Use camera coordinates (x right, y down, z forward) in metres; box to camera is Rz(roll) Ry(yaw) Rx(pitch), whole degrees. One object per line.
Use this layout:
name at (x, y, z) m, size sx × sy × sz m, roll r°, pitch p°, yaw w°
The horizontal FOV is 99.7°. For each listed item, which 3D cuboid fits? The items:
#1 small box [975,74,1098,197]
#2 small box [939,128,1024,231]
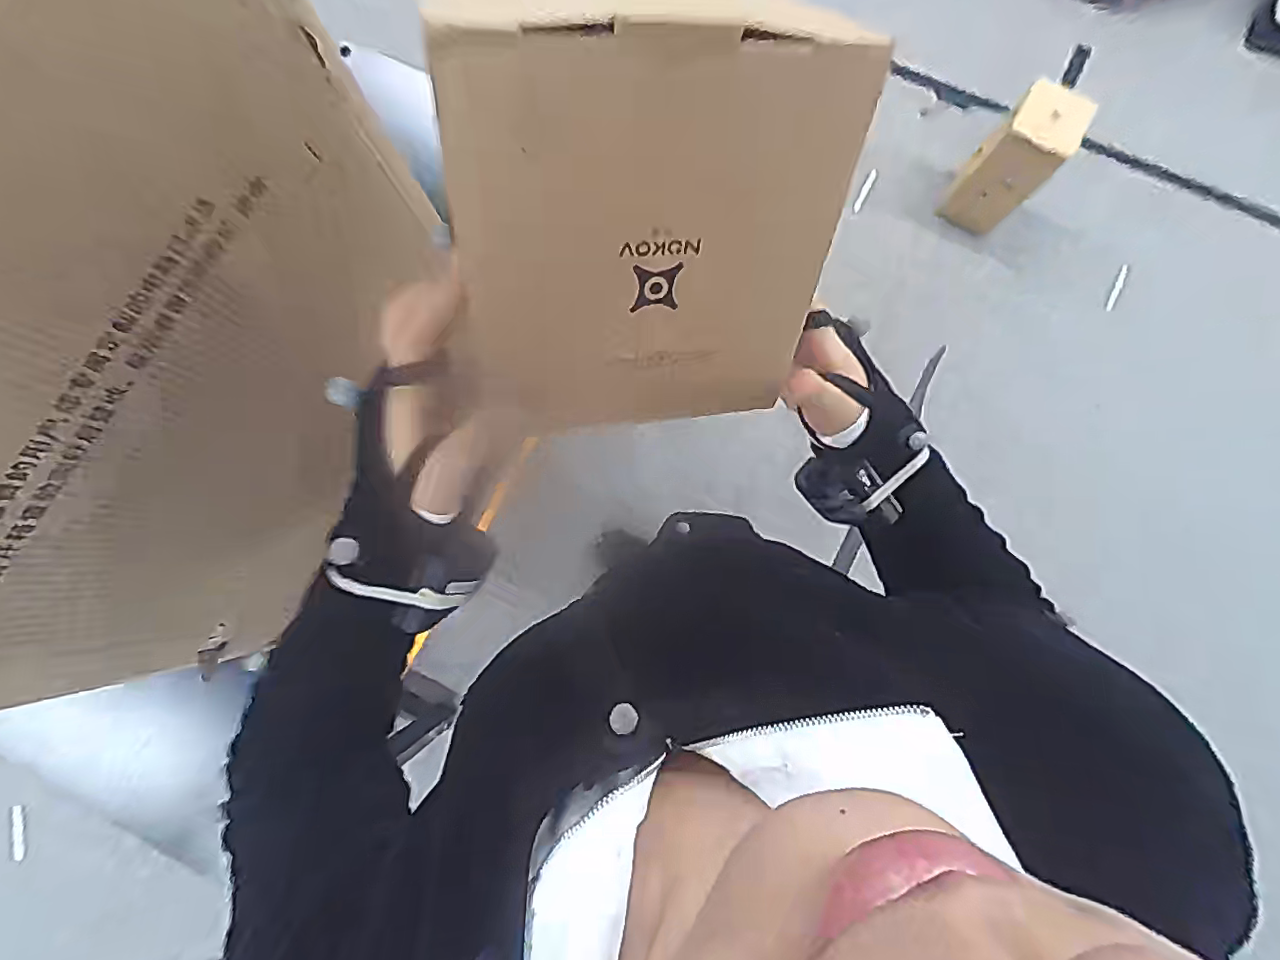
small box at (1.026, -0.893, 1.416) m, size 0.168 × 0.176 × 0.179 m, roll 30°, pitch 83°, yaw 5°
small box at (1.019, -0.868, 1.579) m, size 0.179 × 0.176 × 0.168 m, roll 30°, pitch 83°, yaw 4°
